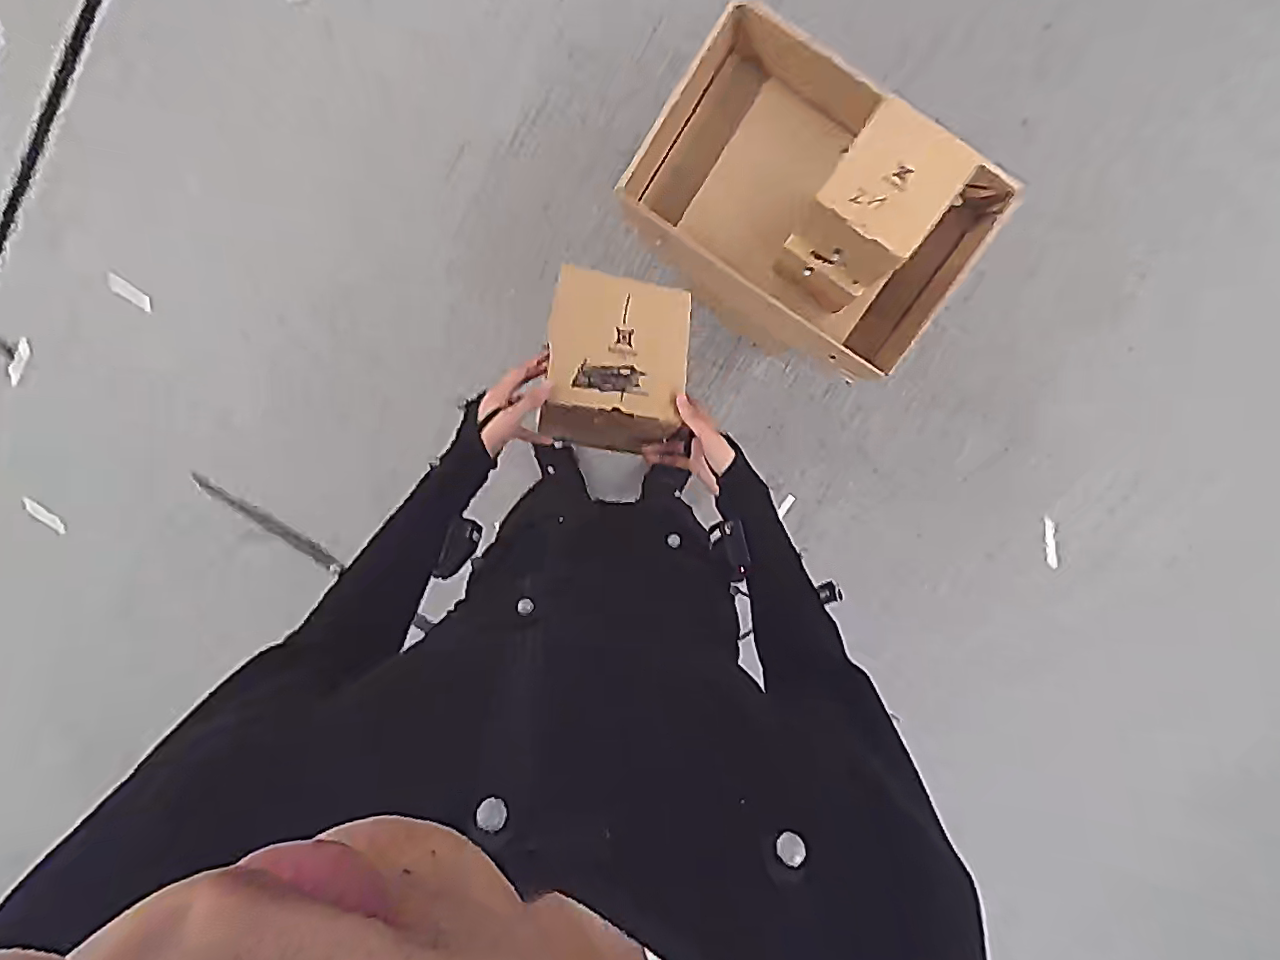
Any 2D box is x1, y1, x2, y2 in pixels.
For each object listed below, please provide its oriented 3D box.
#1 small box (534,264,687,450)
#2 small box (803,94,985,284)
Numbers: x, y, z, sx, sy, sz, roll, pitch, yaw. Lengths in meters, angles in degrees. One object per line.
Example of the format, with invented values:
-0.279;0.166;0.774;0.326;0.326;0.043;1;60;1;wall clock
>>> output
-0.046;-0.146;0.711;0.168;0.176;0.179;7;77;-14;small box
0.383;-0.443;0.857;0.168;0.176;0.179;37;100;0;small box
